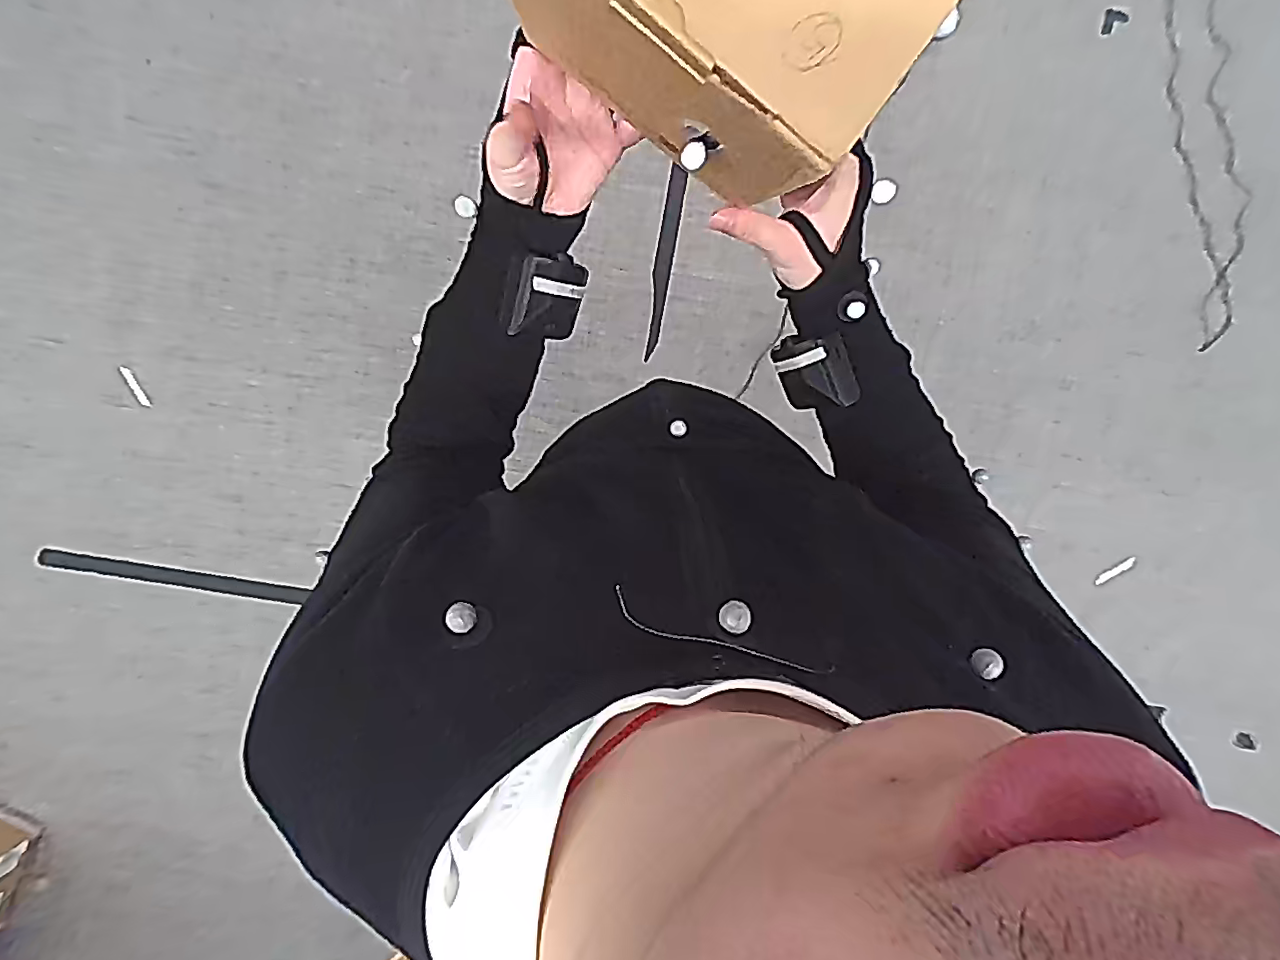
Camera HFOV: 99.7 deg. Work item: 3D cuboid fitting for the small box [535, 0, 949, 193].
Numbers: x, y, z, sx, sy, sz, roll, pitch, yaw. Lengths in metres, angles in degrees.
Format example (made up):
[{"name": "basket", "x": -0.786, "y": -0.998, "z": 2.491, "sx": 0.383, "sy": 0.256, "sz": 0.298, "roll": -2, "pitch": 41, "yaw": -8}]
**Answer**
[{"name": "small box", "x": 0.055, "y": -0.264, "z": 0.249, "sx": 0.168, "sy": 0.176, "sz": 0.179, "roll": 31, "pitch": 106, "yaw": -16}]
